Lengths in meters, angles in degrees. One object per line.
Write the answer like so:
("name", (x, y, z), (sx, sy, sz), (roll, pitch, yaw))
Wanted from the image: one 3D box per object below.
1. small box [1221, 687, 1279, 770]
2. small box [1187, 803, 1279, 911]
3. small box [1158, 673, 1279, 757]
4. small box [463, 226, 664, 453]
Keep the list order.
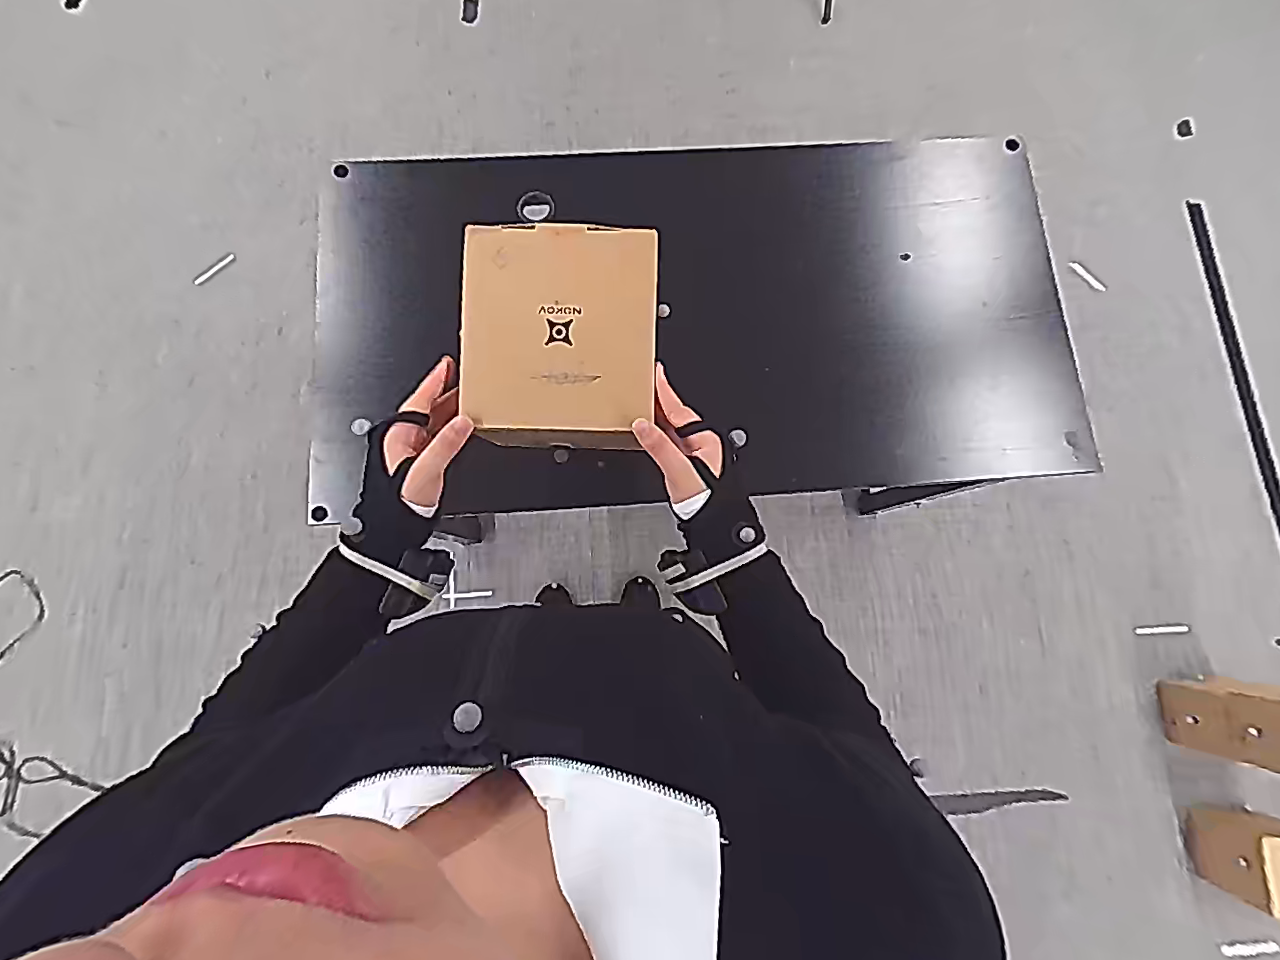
("small box", (1.532, 0.582, 1.257), (0.179, 0.176, 0.168), (1, 79, -1))
("small box", (1.547, 0.940, 1.365), (0.168, 0.176, 0.179), (0, 81, -2))
("small box", (1.524, 0.610, 1.421), (0.179, 0.176, 0.168), (-4, 80, -2))
("small box", (-0.066, -0.124, 0.536), (0.168, 0.176, 0.179), (1, 88, -1))
